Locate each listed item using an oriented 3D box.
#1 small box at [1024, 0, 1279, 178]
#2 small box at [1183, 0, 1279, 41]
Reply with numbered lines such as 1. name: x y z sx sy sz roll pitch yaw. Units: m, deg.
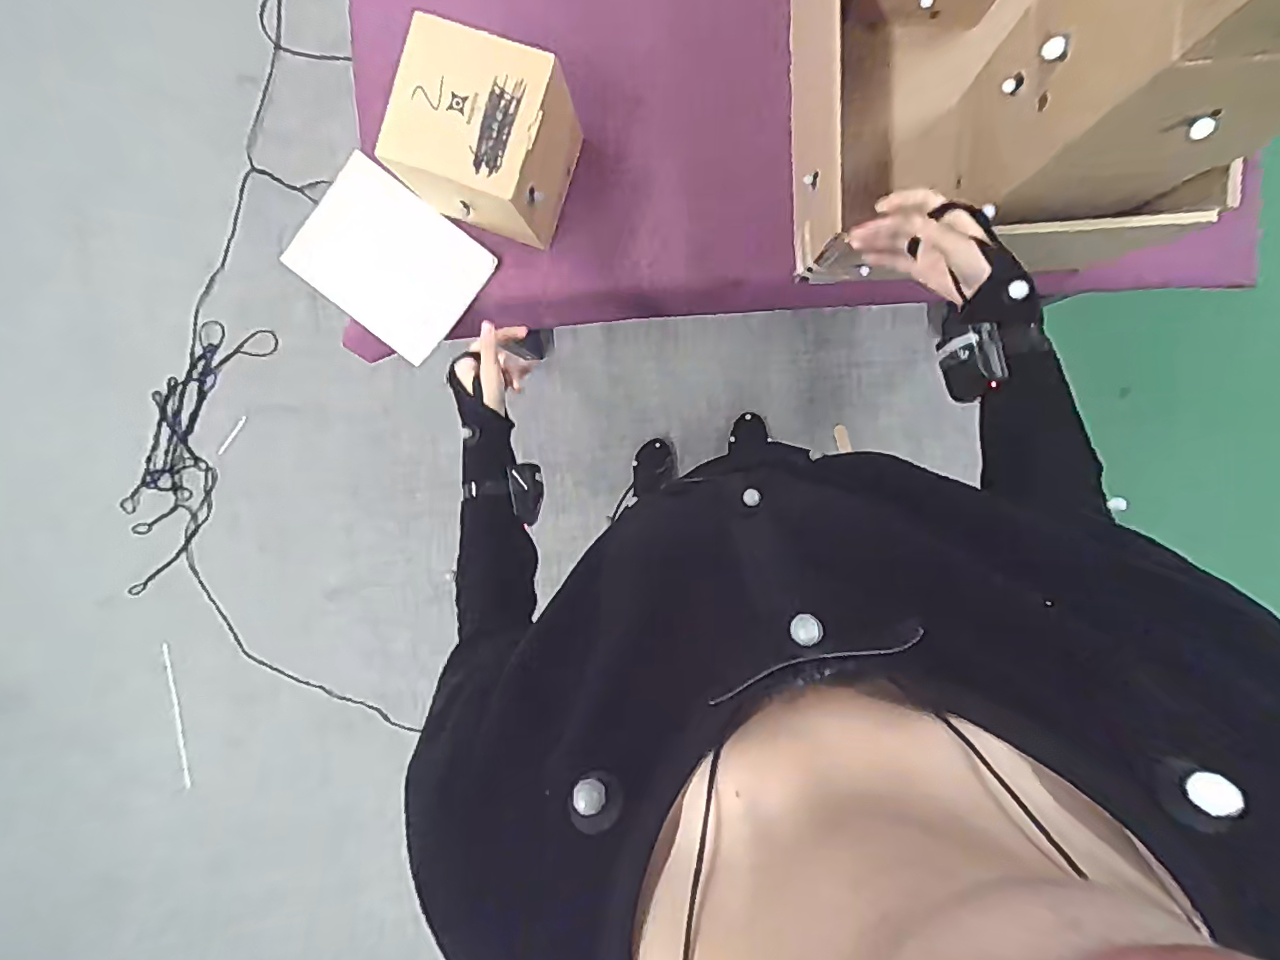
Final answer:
1. small box: 0.454 -0.368 0.434 0.179 0.176 0.168 0 93 7
2. small box: 0.435 -0.364 0.272 0.168 0.176 0.179 0 93 6
